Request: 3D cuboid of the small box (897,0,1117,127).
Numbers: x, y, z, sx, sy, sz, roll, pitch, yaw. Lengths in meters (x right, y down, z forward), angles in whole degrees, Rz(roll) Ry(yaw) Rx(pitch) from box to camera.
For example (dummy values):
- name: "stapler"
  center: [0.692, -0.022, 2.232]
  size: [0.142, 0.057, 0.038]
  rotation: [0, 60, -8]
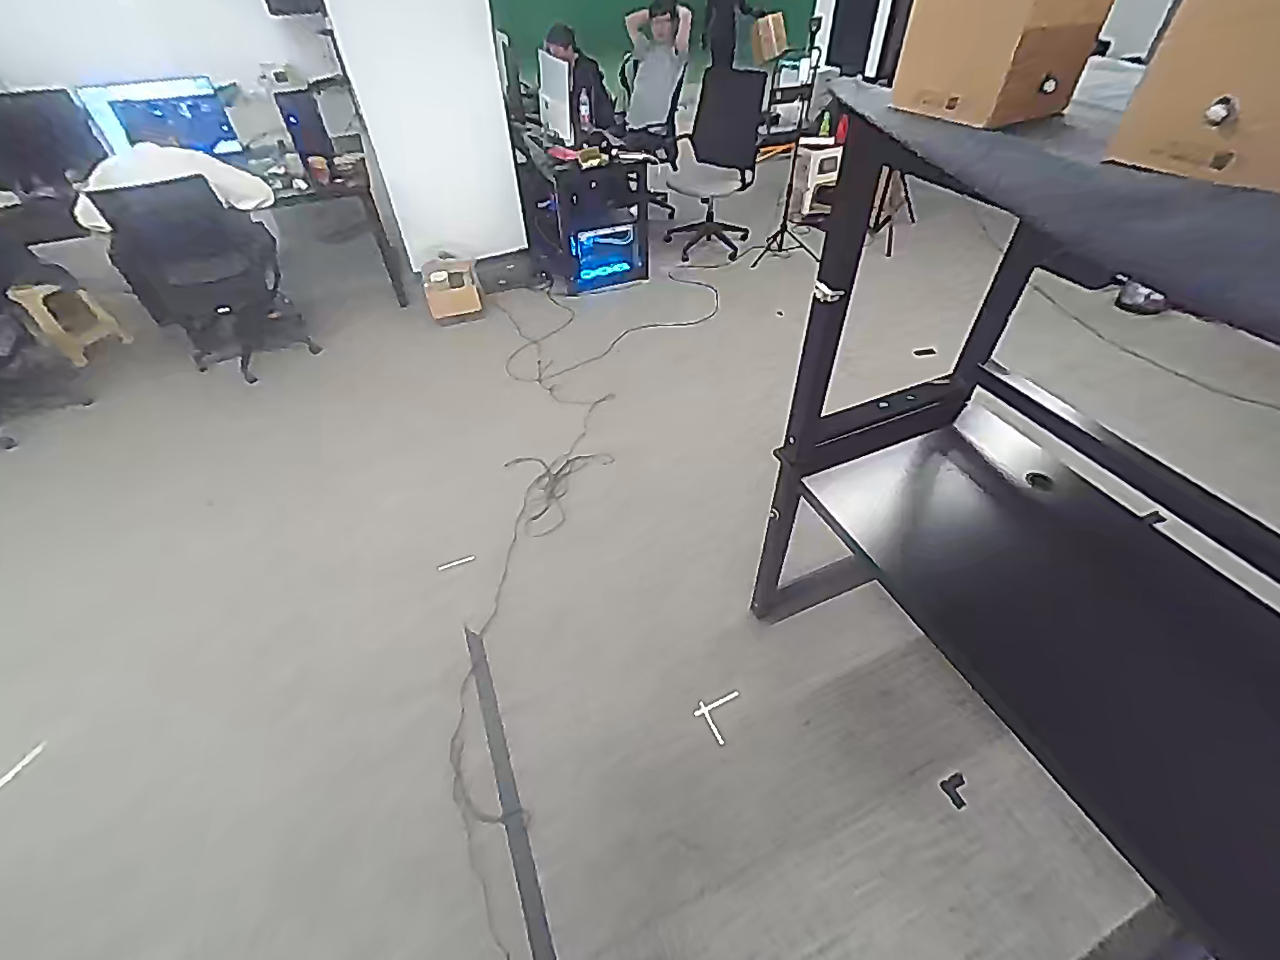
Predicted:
- name: "small box"
  center: [0.474, -0.584, 0.704]
  size: [0.179, 0.176, 0.168]
  rotation: [-24, 50, -20]
